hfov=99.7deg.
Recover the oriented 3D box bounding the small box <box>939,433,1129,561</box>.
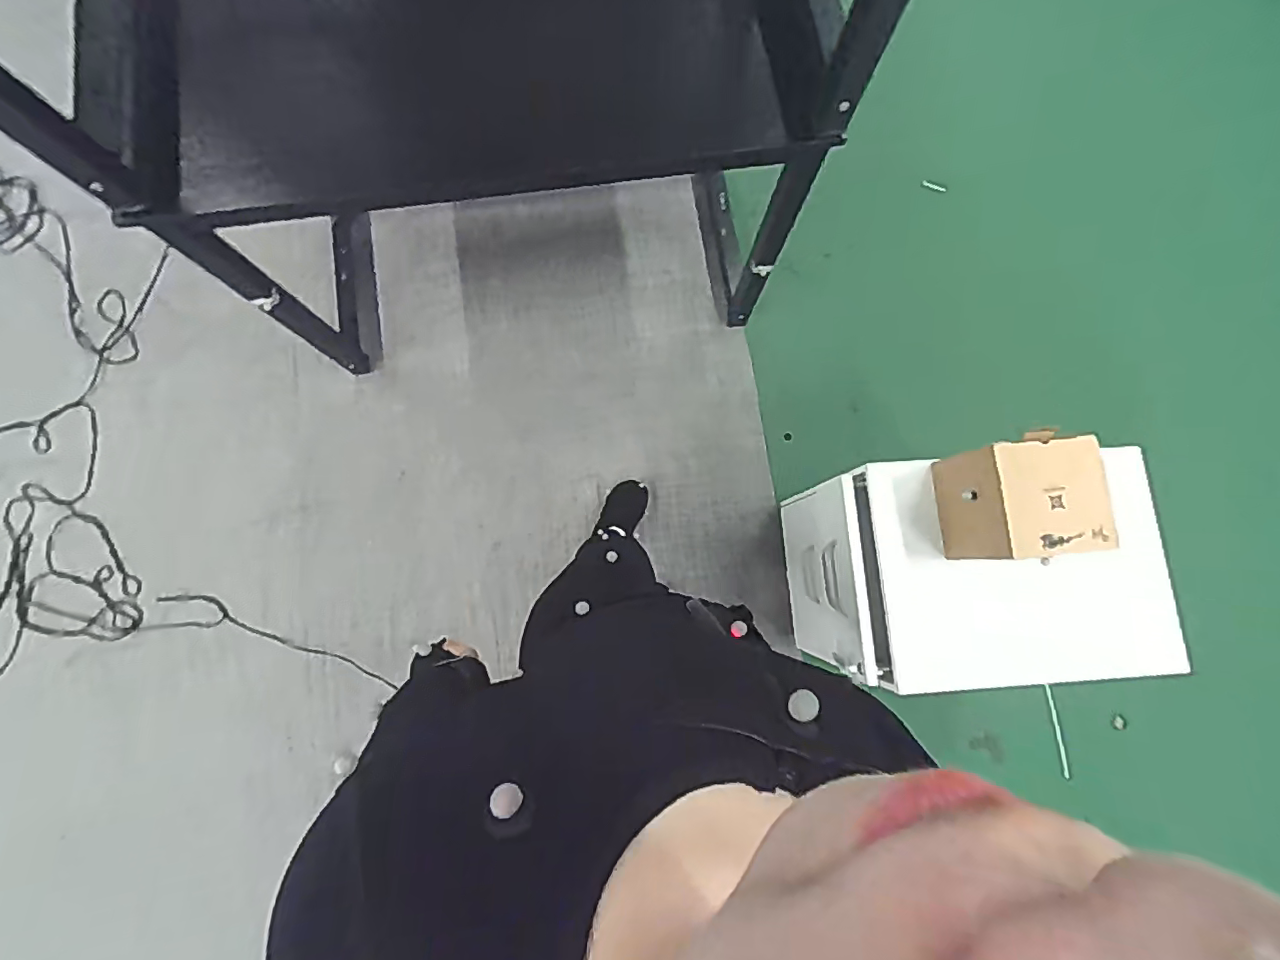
[{"bbox_3d":[0.607,0.034,0.859,0.168,0.176,0.179,-5,81,-2],"label":"small box"}]
